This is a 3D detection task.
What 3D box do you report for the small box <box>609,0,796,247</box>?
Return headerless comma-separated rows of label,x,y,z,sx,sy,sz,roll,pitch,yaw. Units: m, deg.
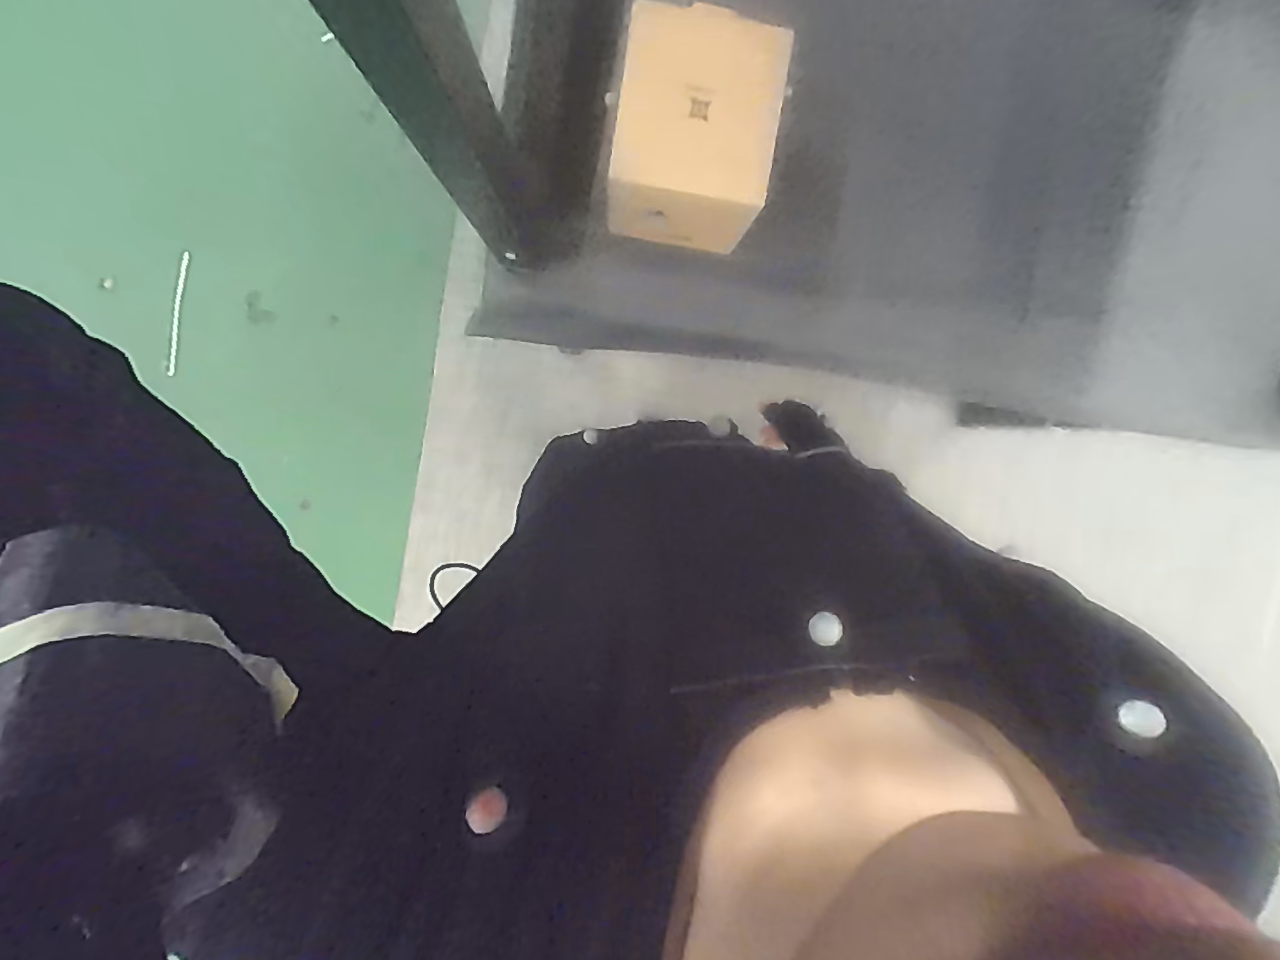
small box,0.060,-0.389,0.620,0.168,0.176,0.179,9,95,-3
